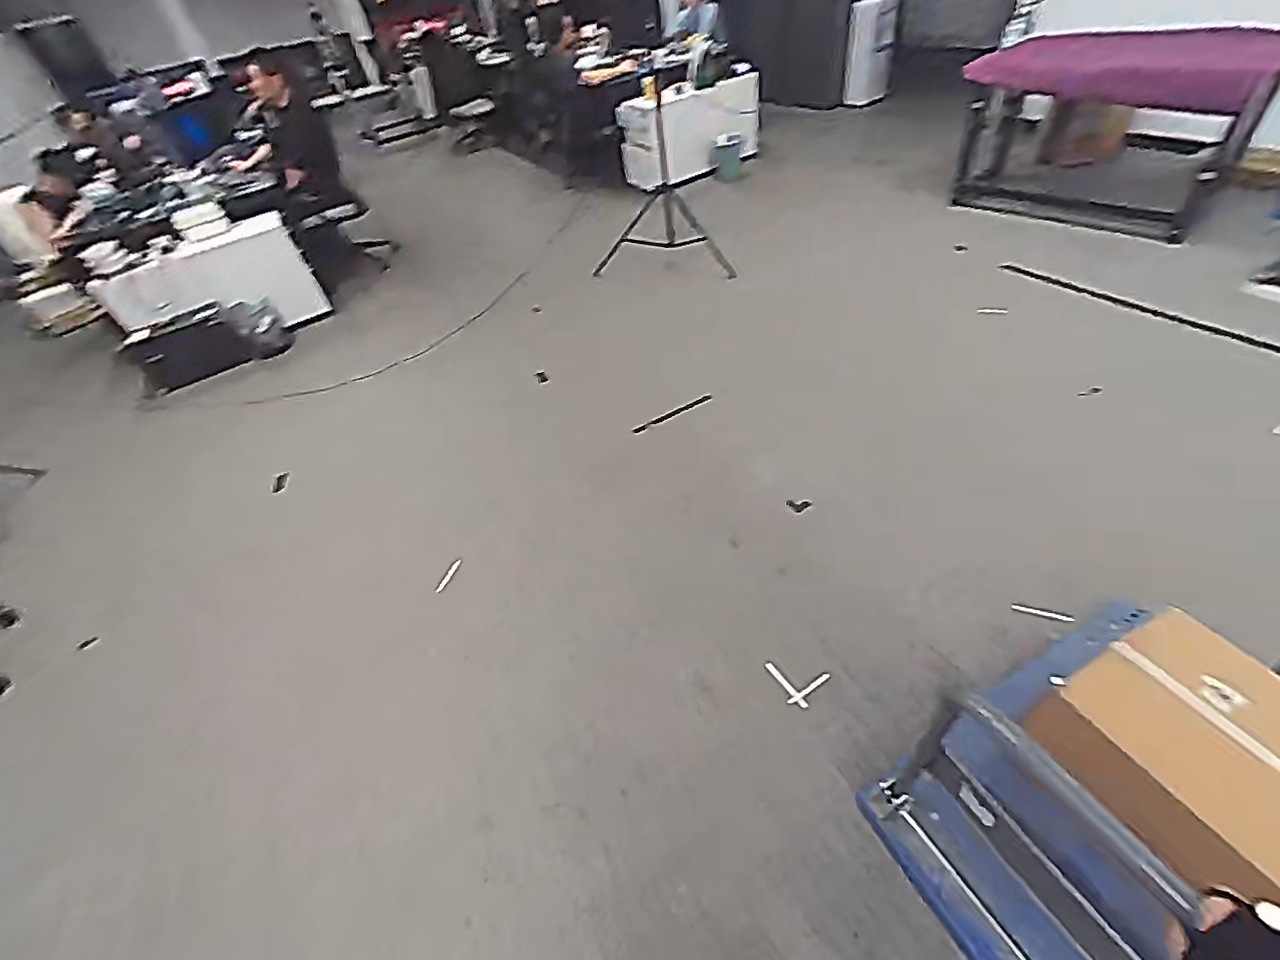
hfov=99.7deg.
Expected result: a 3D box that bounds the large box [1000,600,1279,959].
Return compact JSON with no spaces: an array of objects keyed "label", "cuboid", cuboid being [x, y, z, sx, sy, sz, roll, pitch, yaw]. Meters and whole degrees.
[{"label":"large box","cuboid":[0.954,0.502,0.944,0.320,0.320,0.408,-26,45,-13]}]
